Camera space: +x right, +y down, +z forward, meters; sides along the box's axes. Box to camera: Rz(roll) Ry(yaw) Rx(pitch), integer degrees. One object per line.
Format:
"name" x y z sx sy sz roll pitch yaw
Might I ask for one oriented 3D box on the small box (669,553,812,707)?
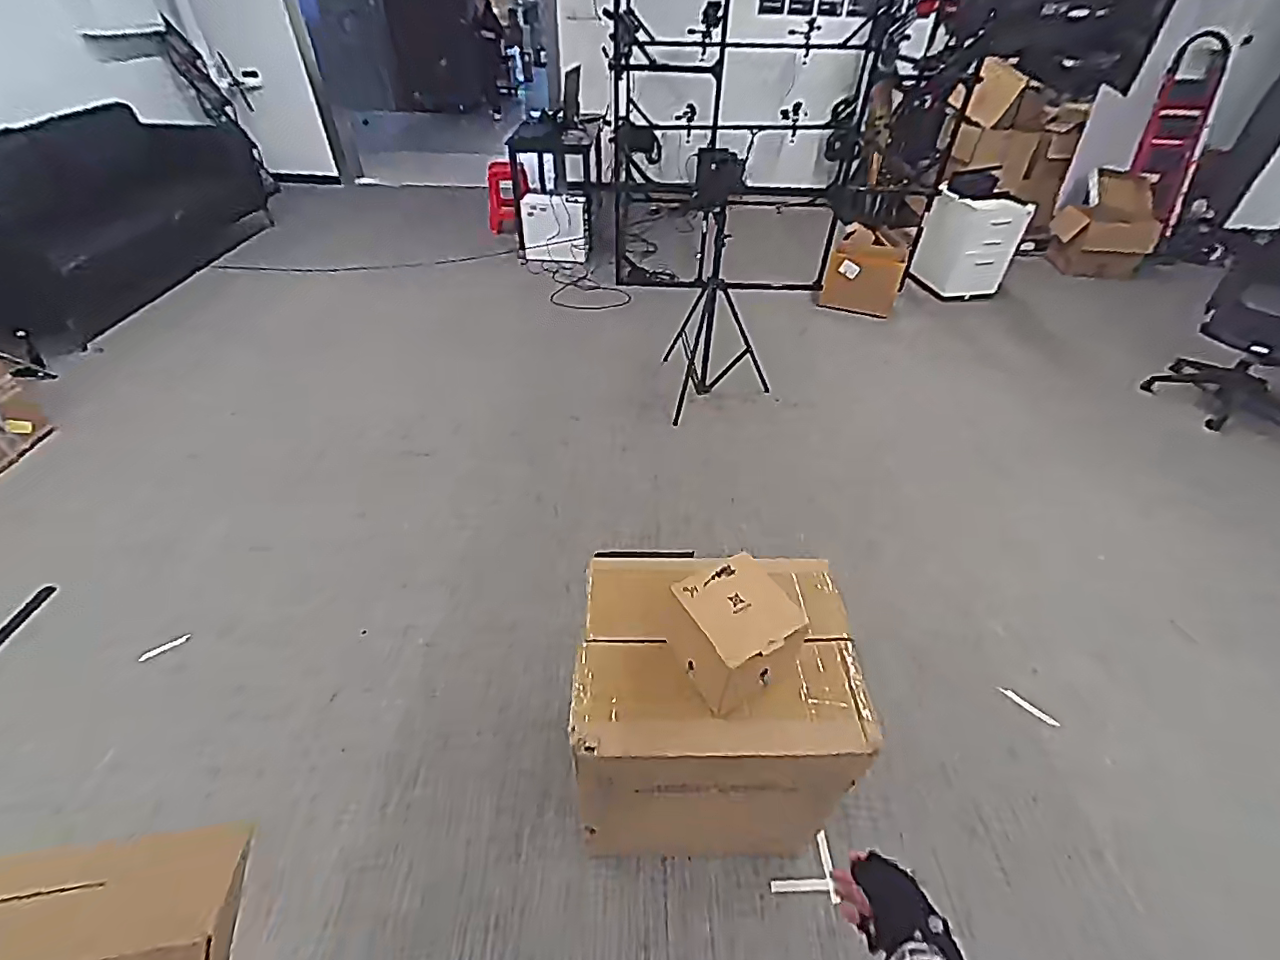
"small box" 0.164 0.267 0.942 0.168 0.176 0.179 -21 48 -22
